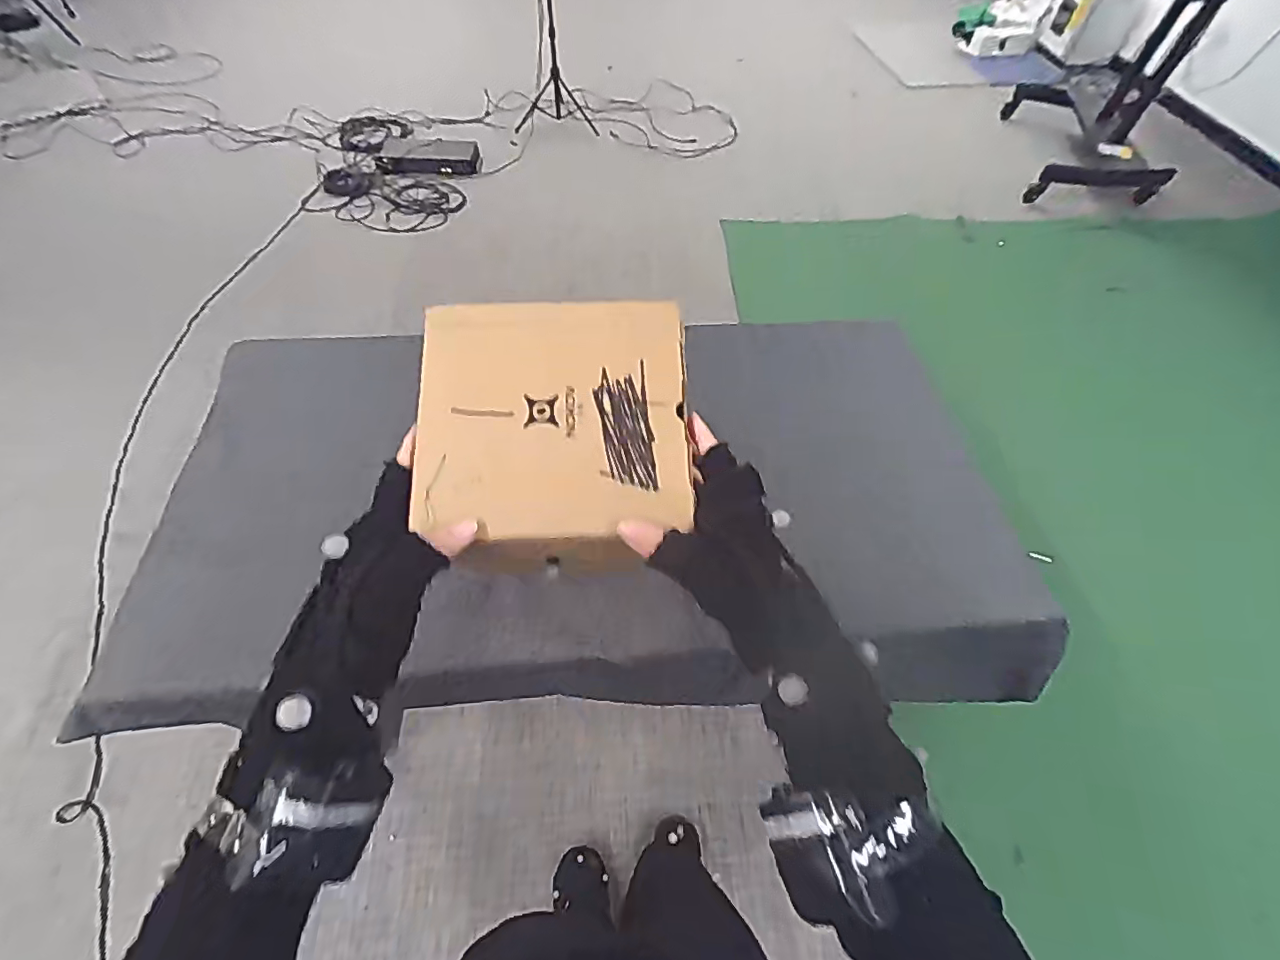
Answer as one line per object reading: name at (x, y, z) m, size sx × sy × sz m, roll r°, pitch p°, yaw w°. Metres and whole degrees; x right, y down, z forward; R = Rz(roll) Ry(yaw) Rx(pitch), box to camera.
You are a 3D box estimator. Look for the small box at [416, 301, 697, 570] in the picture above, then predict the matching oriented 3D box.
small box at (-0.062, -0.023, 0.432) m, size 0.179 × 0.176 × 0.168 m, roll -3°, pitch 74°, yaw -5°
